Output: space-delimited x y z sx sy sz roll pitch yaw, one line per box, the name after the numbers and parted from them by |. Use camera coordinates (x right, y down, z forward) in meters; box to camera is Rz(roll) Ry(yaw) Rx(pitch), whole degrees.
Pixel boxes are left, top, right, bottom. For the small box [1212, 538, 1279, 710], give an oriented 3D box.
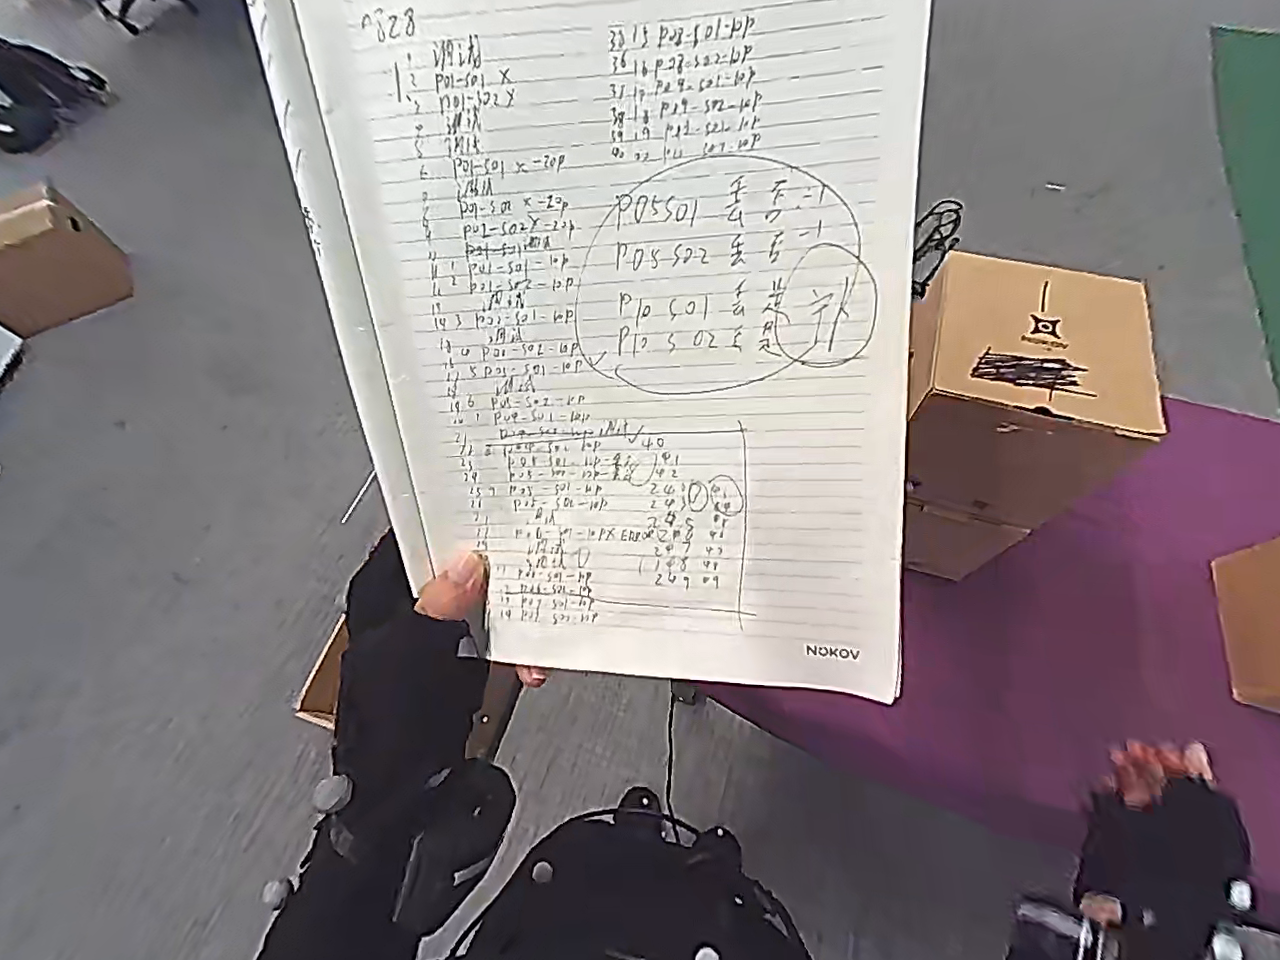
0.765 0.160 0.561 0.168 0.176 0.179 15 64 12 | small box

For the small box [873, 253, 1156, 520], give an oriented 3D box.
0.343 -0.084 0.528 0.168 0.176 0.179 16 63 12 | small box
